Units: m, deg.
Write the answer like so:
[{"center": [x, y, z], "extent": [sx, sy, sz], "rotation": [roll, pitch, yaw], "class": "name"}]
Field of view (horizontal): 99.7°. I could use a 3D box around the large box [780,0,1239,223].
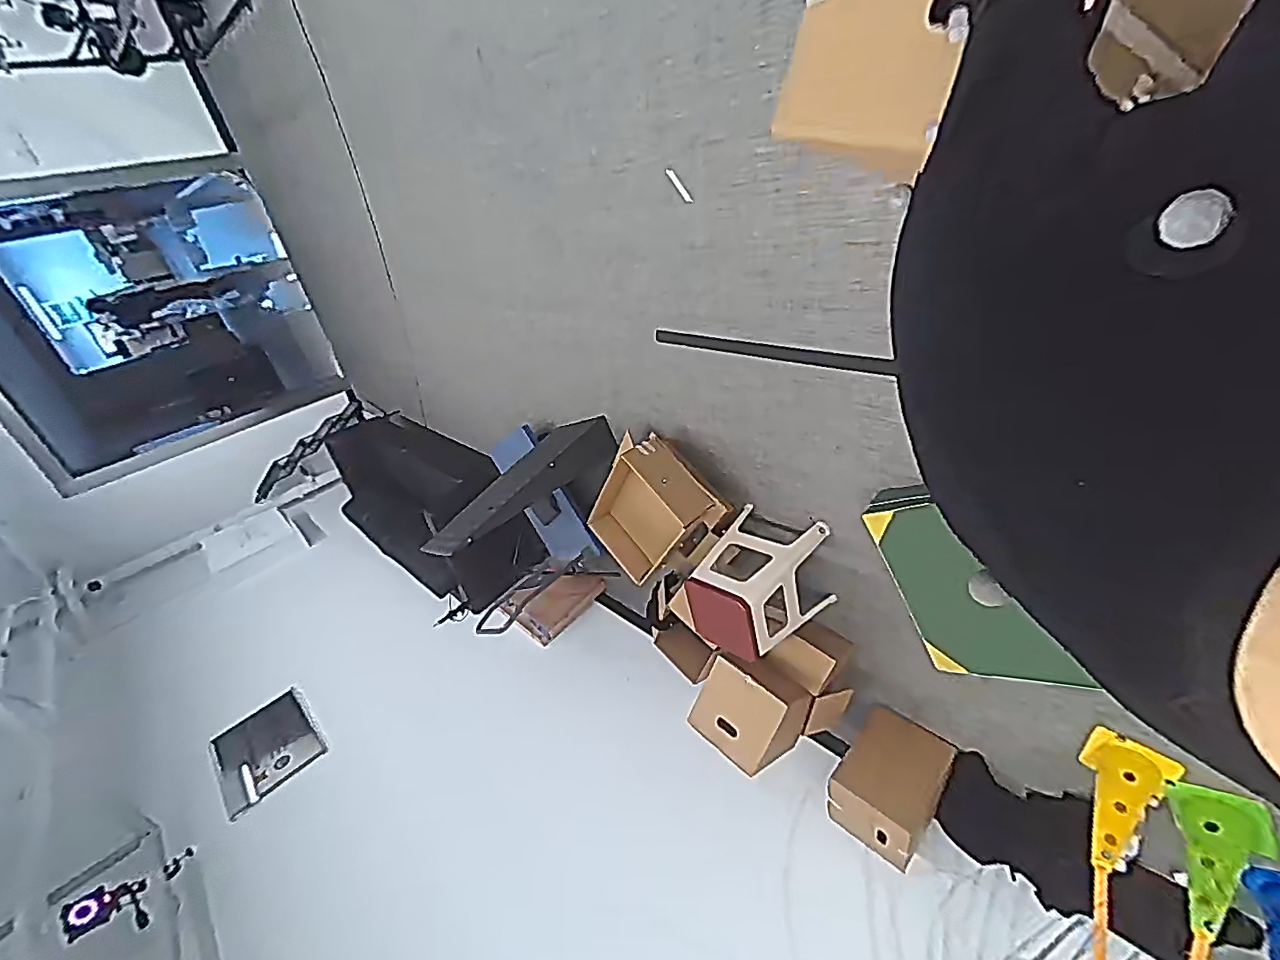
[{"center": [0.461, -0.554, 0.700], "extent": [0.320, 0.408, 0.320], "rotation": [46, 131, 42], "class": "large box"}]
